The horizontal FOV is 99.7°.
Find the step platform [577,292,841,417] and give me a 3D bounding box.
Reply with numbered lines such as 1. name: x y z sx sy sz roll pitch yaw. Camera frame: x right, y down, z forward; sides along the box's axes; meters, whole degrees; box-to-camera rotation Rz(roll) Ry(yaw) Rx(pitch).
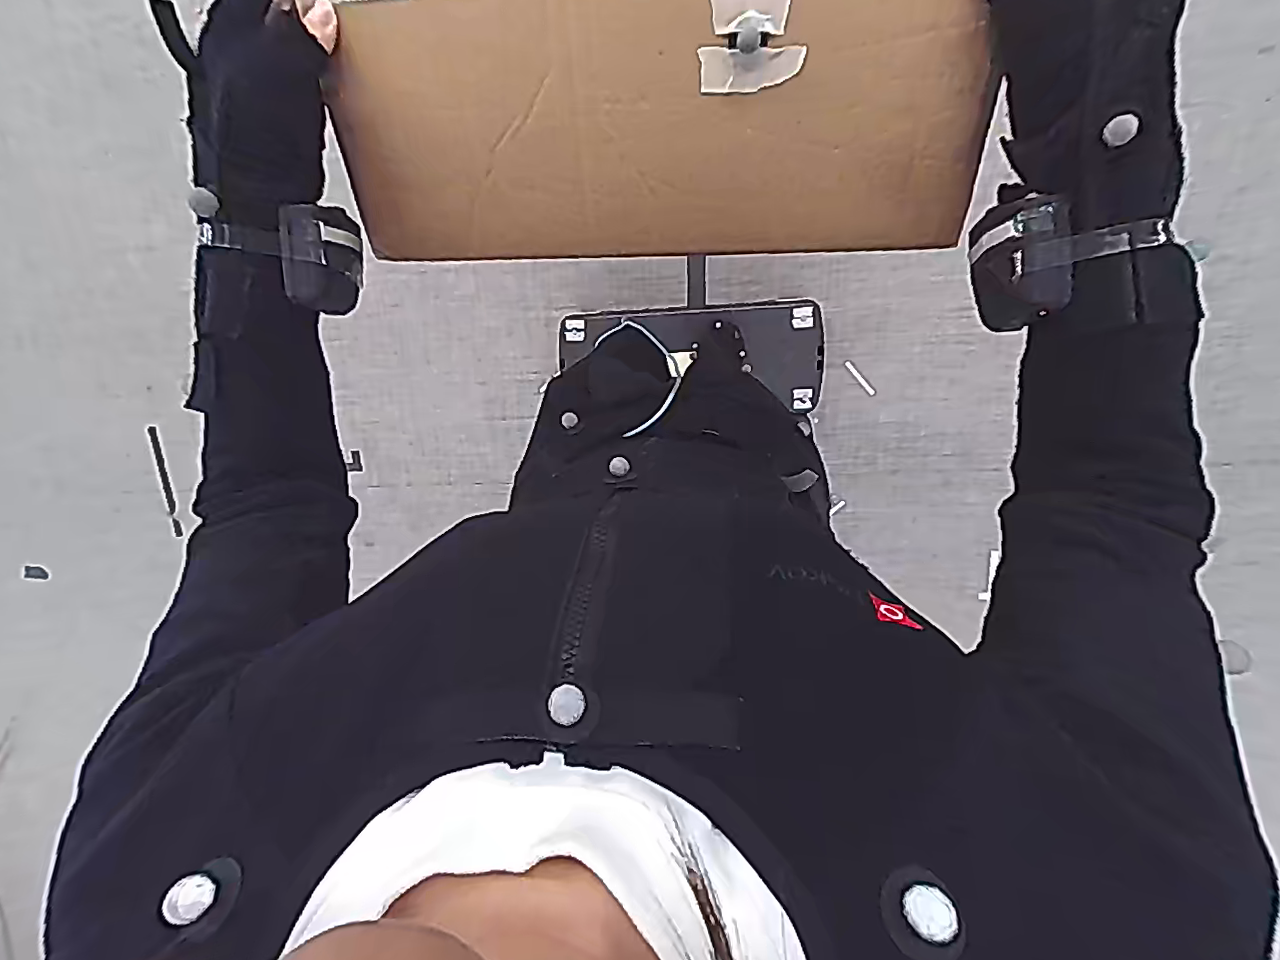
1. step platform: 0.175 -0.329 1.445 0.684 0.204 0.286 -2 106 8

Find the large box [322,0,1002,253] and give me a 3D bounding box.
1. large box: 0.018 -0.379 0.424 0.408 0.320 0.320 2 124 8
